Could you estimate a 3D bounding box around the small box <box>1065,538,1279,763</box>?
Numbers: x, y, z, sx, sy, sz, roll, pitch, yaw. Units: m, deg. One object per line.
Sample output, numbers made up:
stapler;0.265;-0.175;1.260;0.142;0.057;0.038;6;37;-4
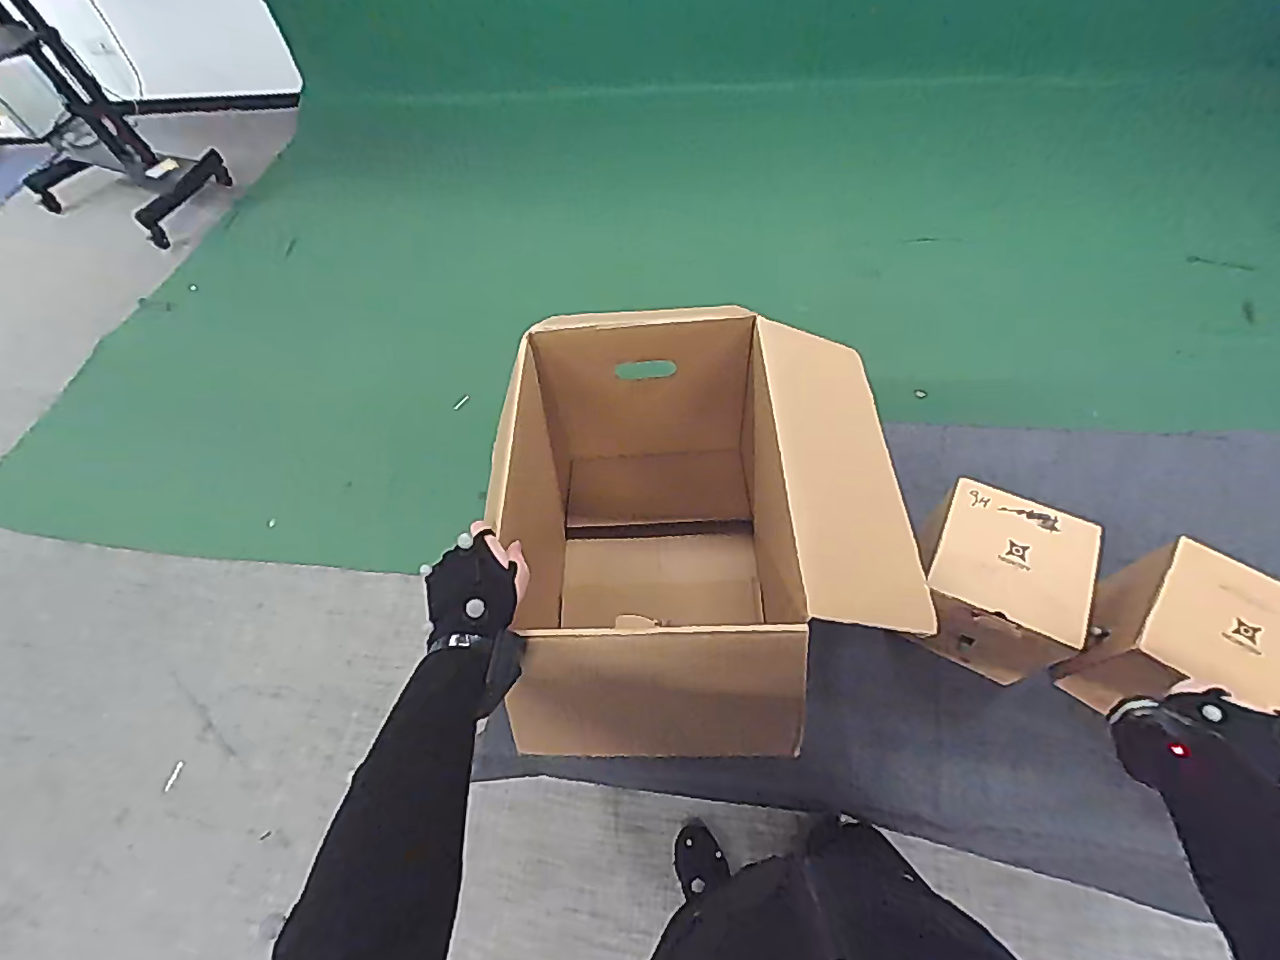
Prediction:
small box;0.661;0.210;0.649;0.168;0.176;0.179;33;66;23
